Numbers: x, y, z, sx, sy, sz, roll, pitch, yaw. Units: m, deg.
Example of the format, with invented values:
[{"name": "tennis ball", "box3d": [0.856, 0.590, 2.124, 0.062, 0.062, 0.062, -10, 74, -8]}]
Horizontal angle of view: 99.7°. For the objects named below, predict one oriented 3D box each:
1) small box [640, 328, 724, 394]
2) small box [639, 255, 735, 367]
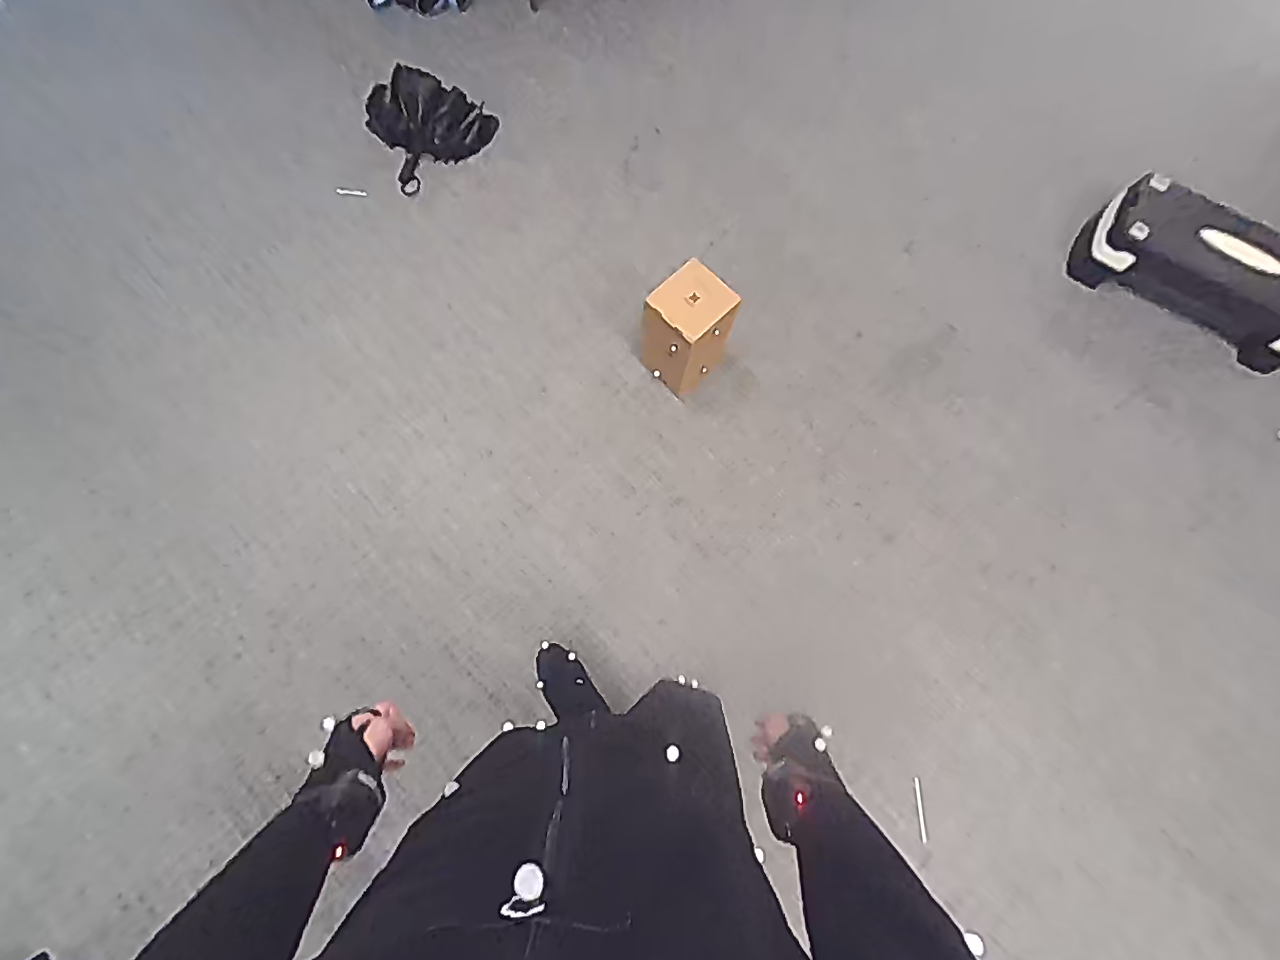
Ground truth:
[{"name": "small box", "box3d": [0.110, -0.379, 1.533, 0.179, 0.176, 0.168, -44, 80, -11]}, {"name": "small box", "box3d": [0.113, -0.422, 1.377, 0.168, 0.176, 0.179, 43, 77, 9]}]
